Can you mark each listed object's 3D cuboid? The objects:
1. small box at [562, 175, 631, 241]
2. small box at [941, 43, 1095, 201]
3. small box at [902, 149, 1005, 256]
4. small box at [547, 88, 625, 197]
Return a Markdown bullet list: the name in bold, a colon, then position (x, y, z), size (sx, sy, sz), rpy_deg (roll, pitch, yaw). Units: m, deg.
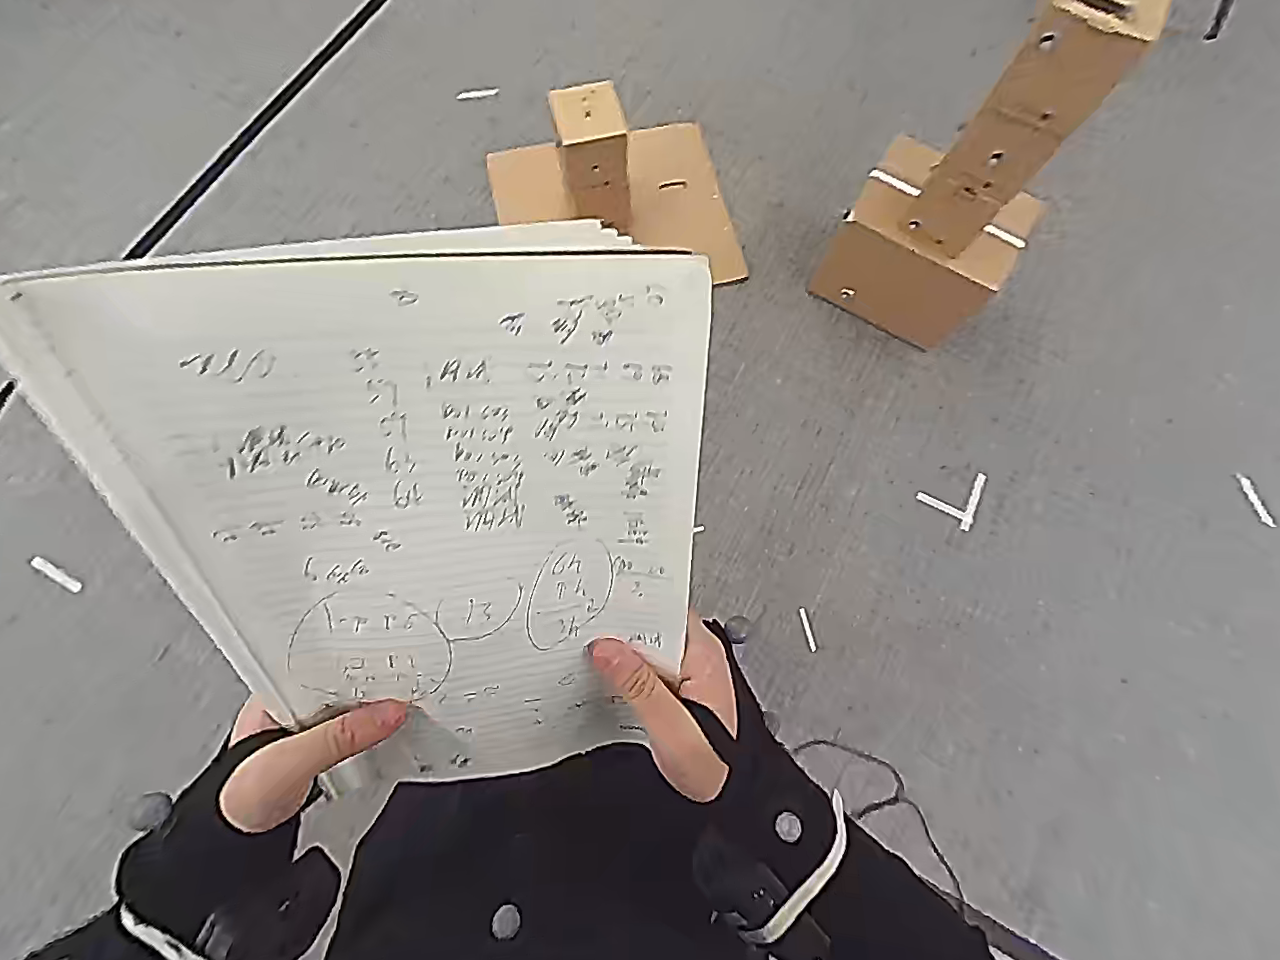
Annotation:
- **small box**: position (-0.132, -0.839, 1.582), size (0.168, 0.176, 0.179), rpy_deg (-17, 77, -6)
- **small box**: position (0.747, -0.710, 1.090), size (0.168, 0.176, 0.179), rpy_deg (30, 77, 6)
- **small box**: position (0.738, -0.659, 1.245), size (0.168, 0.176, 0.179), rpy_deg (33, 76, 7)
- **small box**: position (-0.137, -0.876, 1.421), size (0.168, 0.176, 0.179), rpy_deg (-15, 75, -7)
